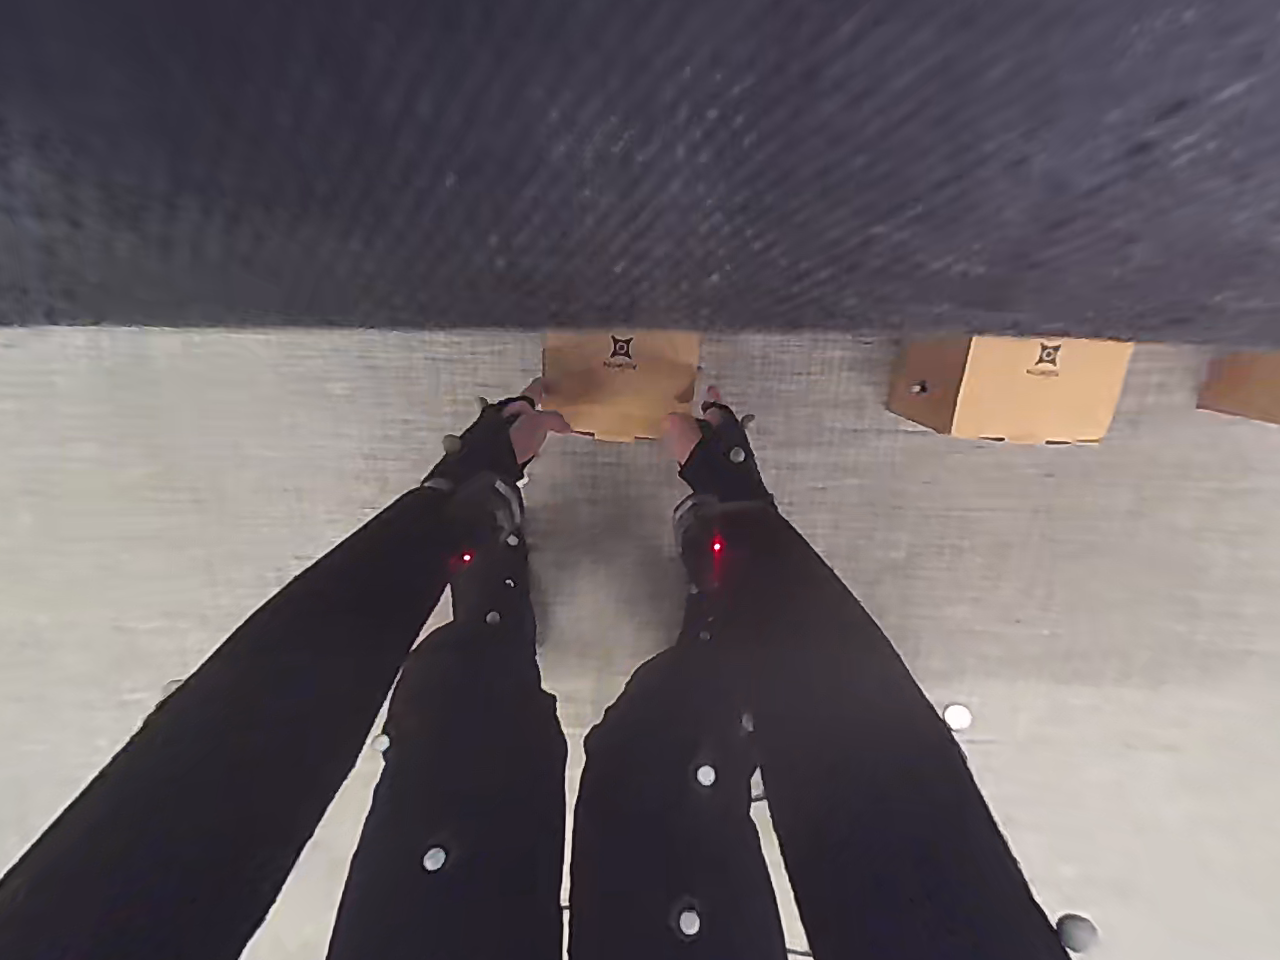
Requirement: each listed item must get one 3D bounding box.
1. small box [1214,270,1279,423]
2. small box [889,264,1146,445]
[{"bbox_3d":[0.809,-0.140,0.591,0.168,0.176,0.179,6,107,2],"label":"small box"},{"bbox_3d":[0.407,-0.144,0.621,0.168,0.176,0.179,2,104,2],"label":"small box"}]
